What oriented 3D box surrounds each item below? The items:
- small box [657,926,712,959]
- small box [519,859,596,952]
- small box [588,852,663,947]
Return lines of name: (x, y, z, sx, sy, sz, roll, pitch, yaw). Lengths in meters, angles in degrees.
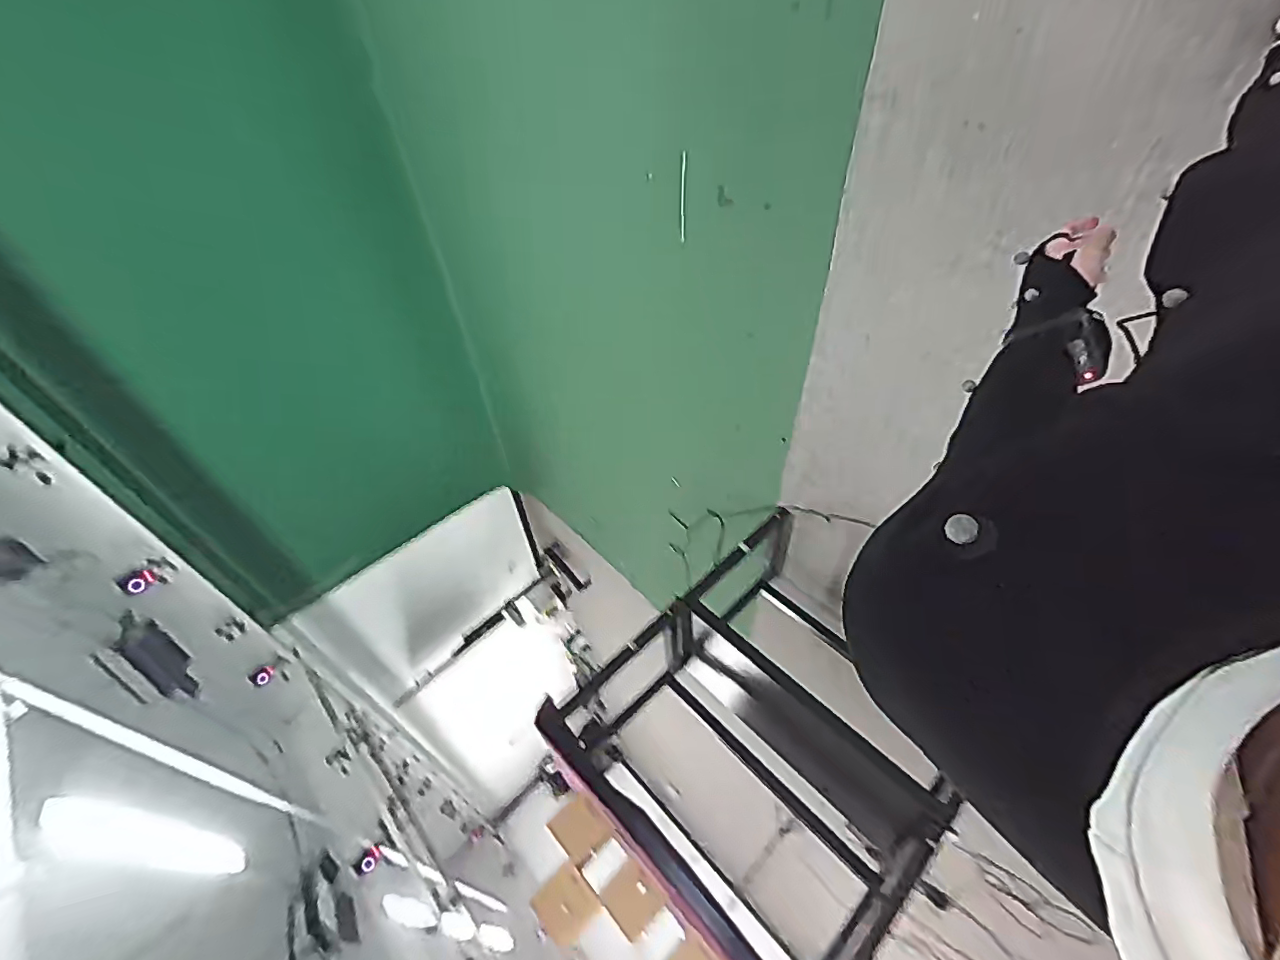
small box: (0.133, 1.447, 1.571, 0.168, 0.176, 0.179, 35, 149, 32)
small box: (-0.251, 1.336, 1.704, 0.168, 0.176, 0.179, 37, 150, 30)
small box: (-0.040, 1.321, 1.706, 0.168, 0.176, 0.179, 36, 148, 31)
